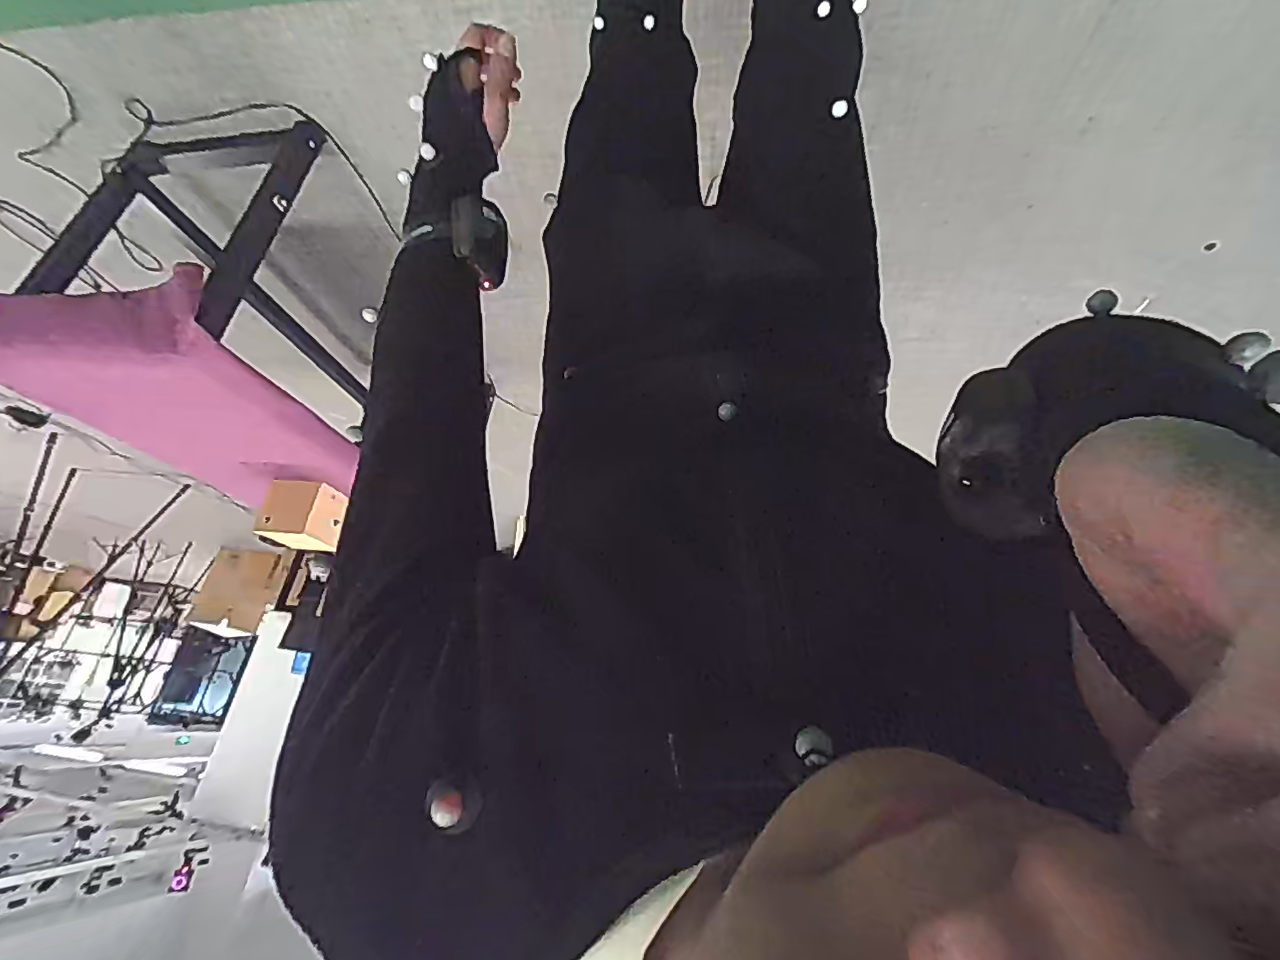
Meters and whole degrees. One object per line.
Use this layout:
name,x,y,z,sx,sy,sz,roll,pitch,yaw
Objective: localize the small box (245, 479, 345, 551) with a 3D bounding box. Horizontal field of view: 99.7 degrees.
small box,-1.011,0.103,1.608,0.179,0.176,0.168,2,155,11
